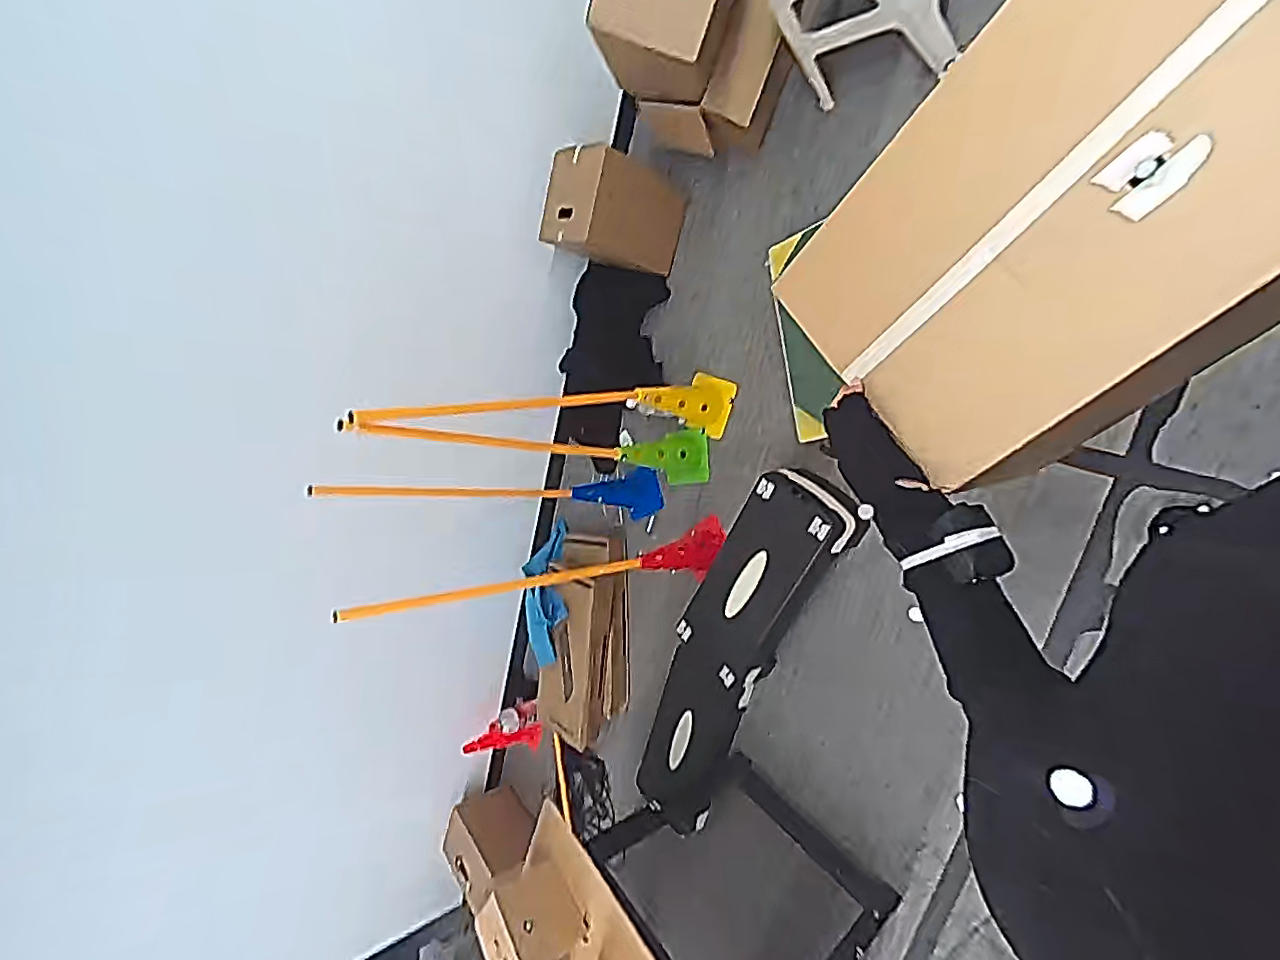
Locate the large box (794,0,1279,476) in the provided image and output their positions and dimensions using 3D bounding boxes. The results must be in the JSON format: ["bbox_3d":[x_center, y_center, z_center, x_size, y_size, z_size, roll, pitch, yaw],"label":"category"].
[{"bbox_3d":[0.459,-0.244,0.574,0.408,0.320,0.320,-47,60,38],"label":"large box"}]
